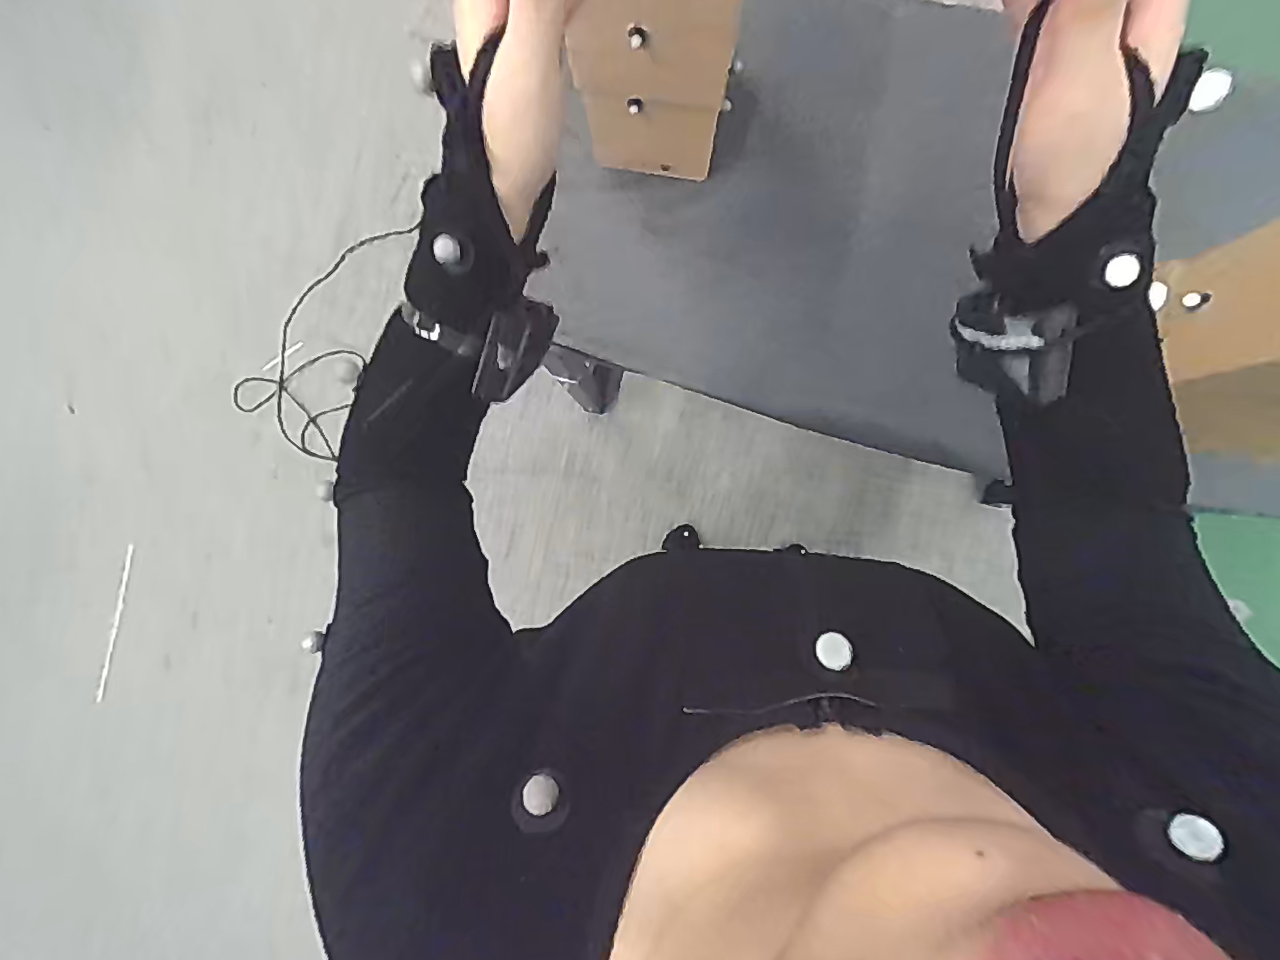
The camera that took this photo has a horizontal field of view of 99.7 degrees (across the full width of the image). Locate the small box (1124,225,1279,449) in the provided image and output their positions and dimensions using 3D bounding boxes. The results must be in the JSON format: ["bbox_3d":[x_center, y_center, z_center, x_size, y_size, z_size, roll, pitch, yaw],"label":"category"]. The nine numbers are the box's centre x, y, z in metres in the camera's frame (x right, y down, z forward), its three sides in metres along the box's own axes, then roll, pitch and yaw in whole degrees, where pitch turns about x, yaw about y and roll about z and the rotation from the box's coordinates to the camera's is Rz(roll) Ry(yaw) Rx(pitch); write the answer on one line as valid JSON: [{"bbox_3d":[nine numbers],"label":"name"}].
[{"bbox_3d":[0.635,-0.136,0.511,0.179,0.176,0.168,25,88,5],"label":"small box"}]

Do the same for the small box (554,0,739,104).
[{"bbox_3d":[0.018,-0.524,0.549,0.179,0.176,0.168,10,90,3],"label":"small box"}]

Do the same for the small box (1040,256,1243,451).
[{"bbox_3d":[0.647,-0.143,0.673,0.168,0.176,0.179,14,89,4],"label":"small box"}]

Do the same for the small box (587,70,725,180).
[{"bbox_3d":[0.027,-0.537,0.714,0.168,0.176,0.179,9,89,3],"label":"small box"}]
